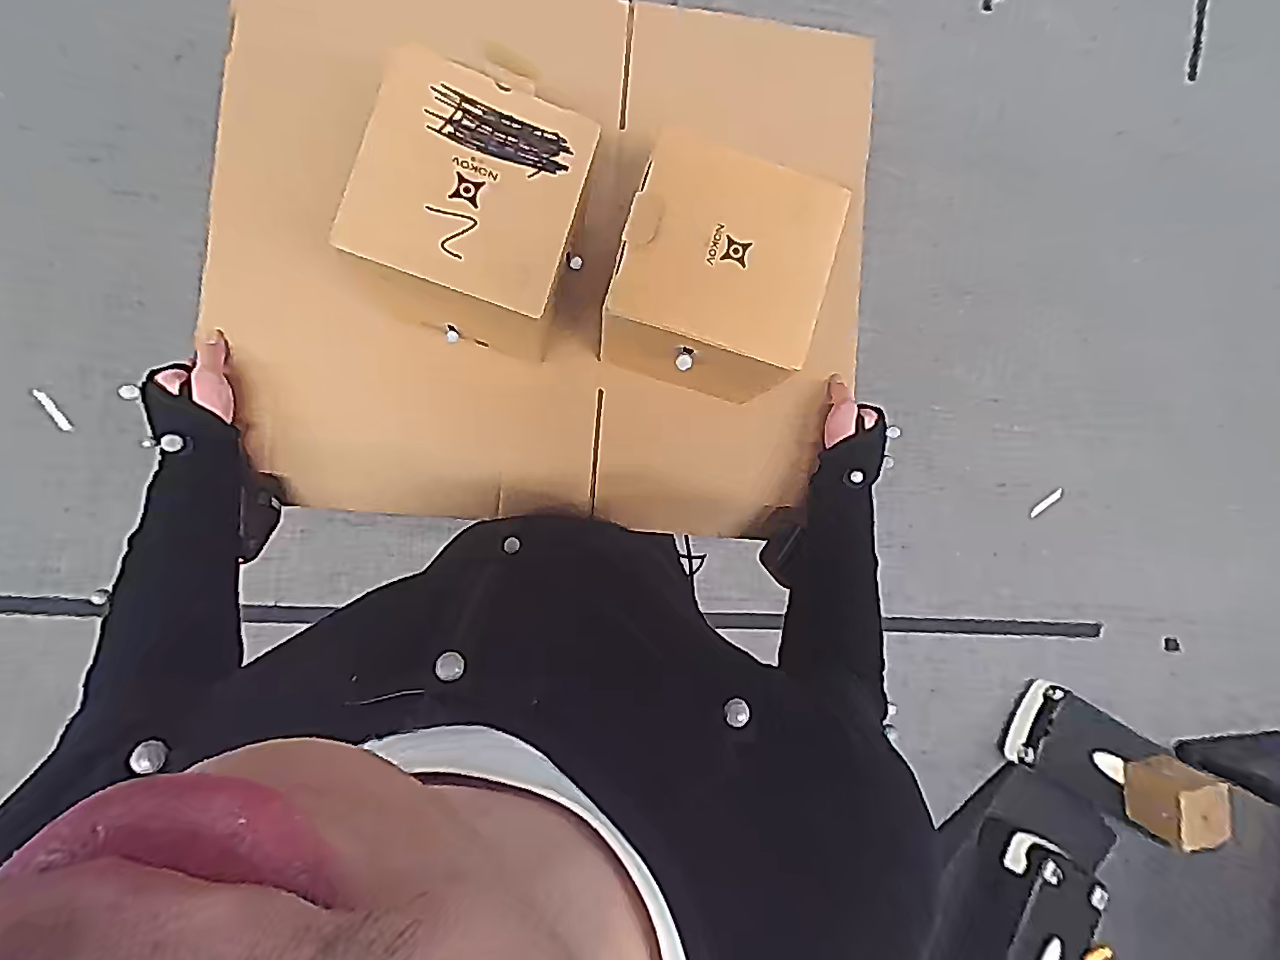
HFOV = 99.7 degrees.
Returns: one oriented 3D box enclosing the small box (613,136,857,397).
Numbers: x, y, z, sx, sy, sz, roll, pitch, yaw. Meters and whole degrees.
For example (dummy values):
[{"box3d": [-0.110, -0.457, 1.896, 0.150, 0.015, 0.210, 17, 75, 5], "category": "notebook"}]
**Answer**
[{"box3d": [0.079, -0.192, 0.544, 0.179, 0.176, 0.168, 17, 87, -3], "category": "small box"}]
